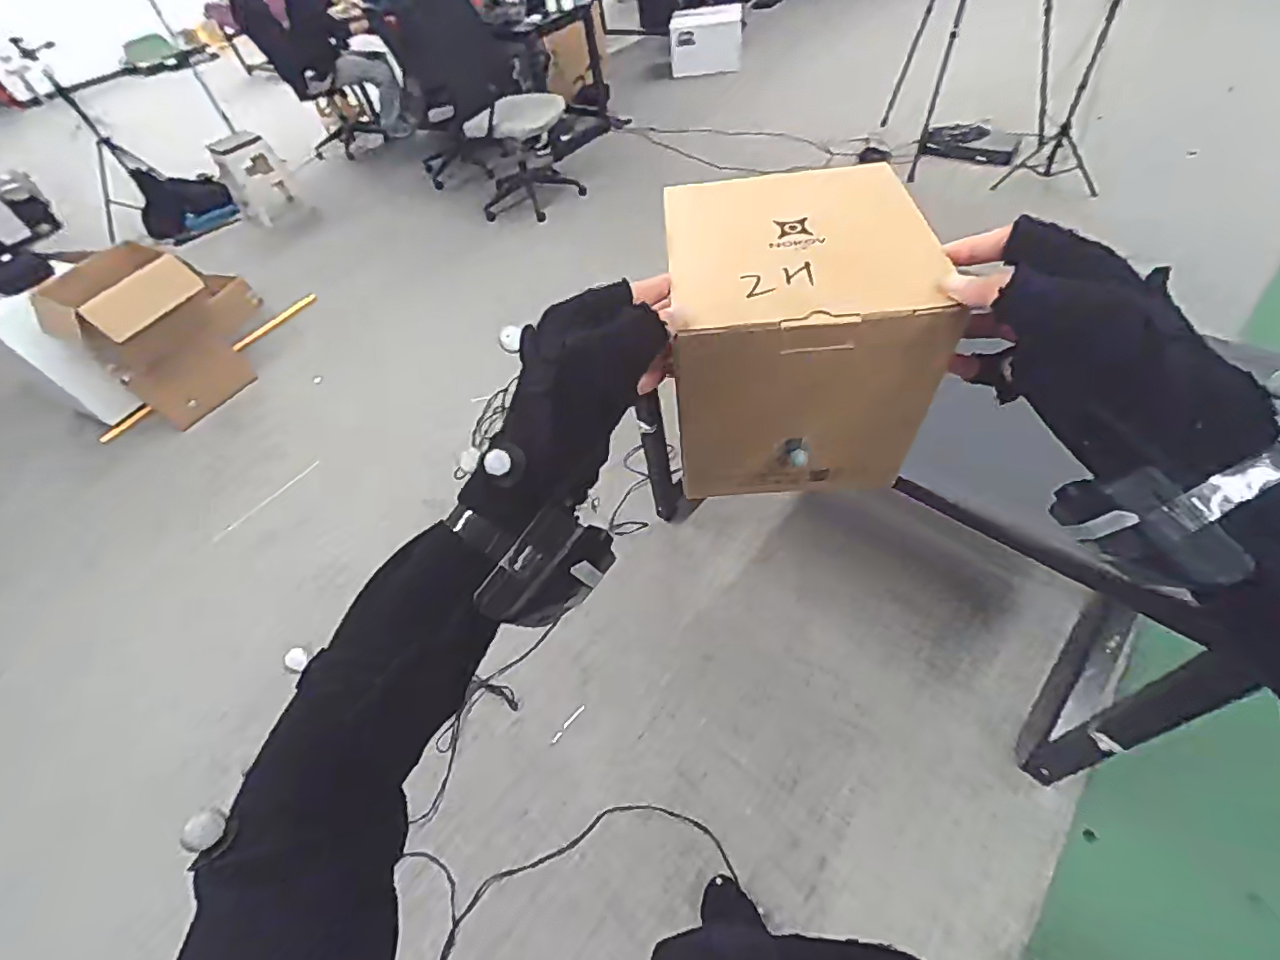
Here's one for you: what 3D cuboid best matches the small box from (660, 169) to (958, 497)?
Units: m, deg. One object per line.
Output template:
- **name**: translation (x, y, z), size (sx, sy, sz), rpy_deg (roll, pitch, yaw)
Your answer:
- **small box**: translation (0.103, -0.107, 0.418), size (0.168, 0.176, 0.179), rpy_deg (-5, 54, 5)
